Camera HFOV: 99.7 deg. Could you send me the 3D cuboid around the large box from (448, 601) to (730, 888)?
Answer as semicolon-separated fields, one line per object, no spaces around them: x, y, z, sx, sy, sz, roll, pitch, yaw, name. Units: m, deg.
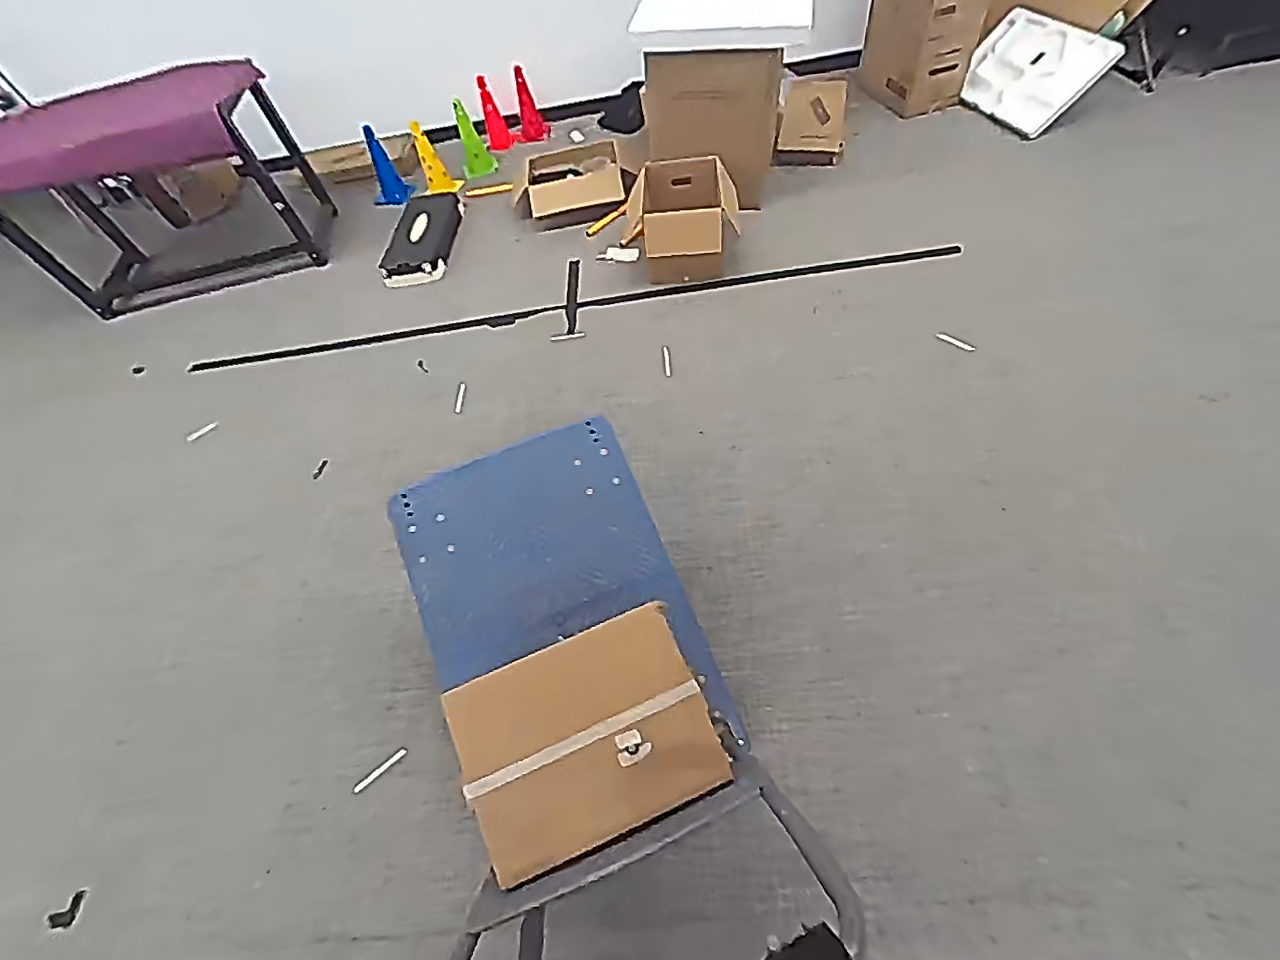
-0.093;0.473;1.053;0.408;0.320;0.320;-24;76;-8;large box
